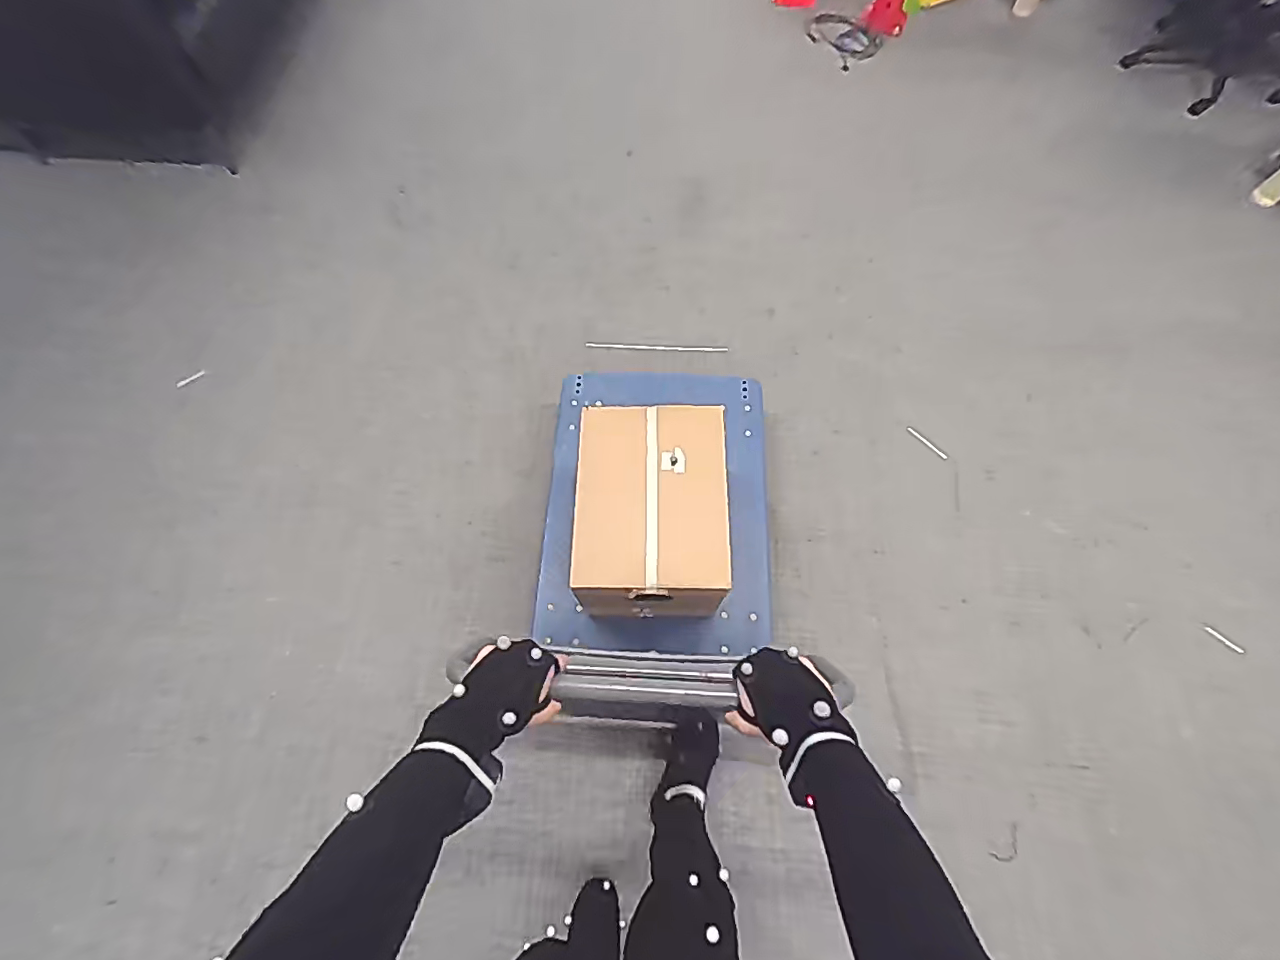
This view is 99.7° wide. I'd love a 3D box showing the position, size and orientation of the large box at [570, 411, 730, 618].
[{"bbox_3d":[0.024,0.093,1.254,0.320,0.320,0.408,0,66,1],"label":"large box"}]
